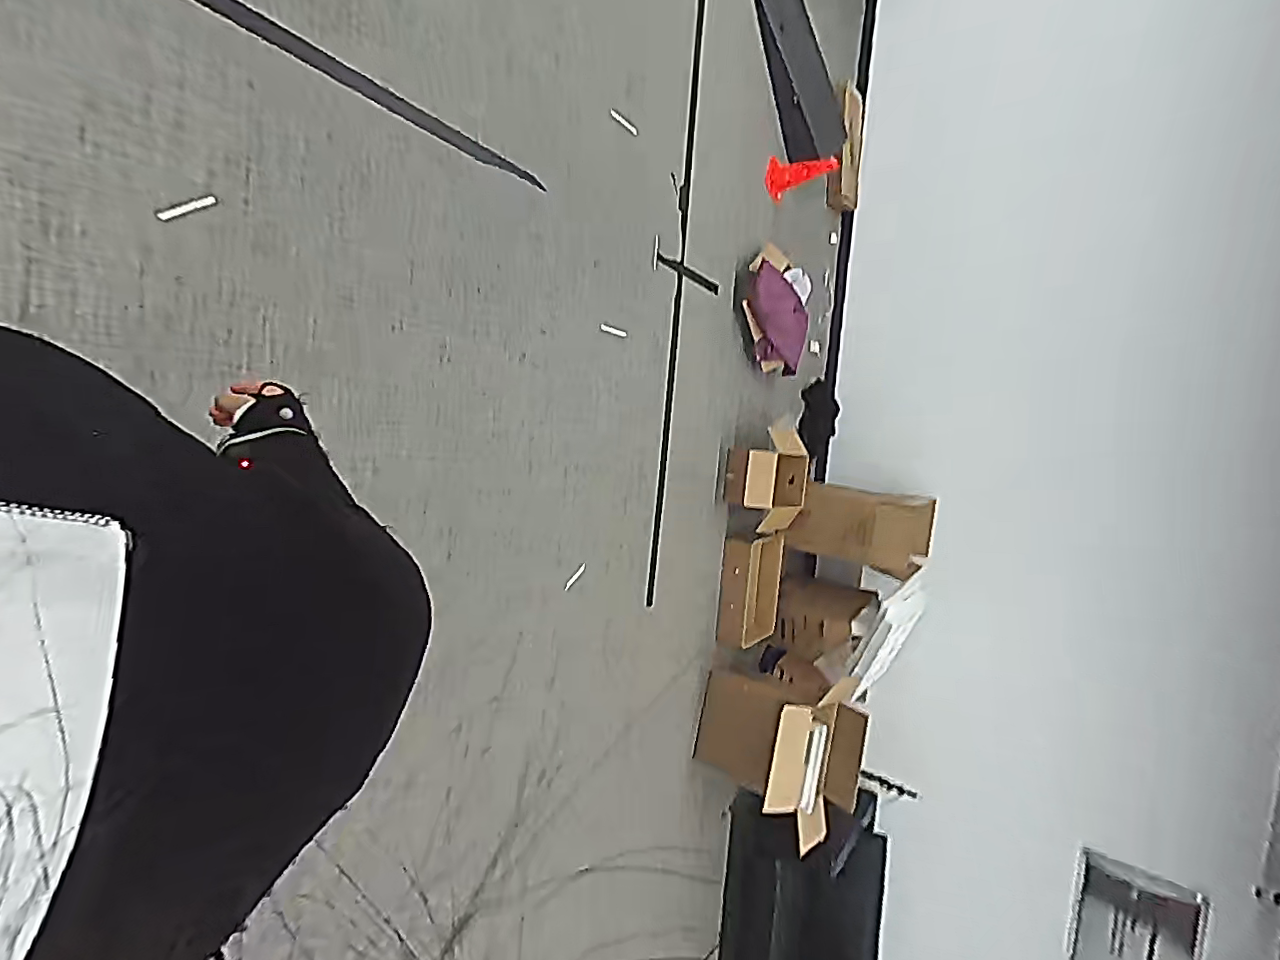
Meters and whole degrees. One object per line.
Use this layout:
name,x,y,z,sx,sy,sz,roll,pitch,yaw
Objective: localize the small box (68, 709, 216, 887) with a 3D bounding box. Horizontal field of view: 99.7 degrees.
small box,-0.857,0.529,0.930,0.168,0.176,0.179,2,95,-51
